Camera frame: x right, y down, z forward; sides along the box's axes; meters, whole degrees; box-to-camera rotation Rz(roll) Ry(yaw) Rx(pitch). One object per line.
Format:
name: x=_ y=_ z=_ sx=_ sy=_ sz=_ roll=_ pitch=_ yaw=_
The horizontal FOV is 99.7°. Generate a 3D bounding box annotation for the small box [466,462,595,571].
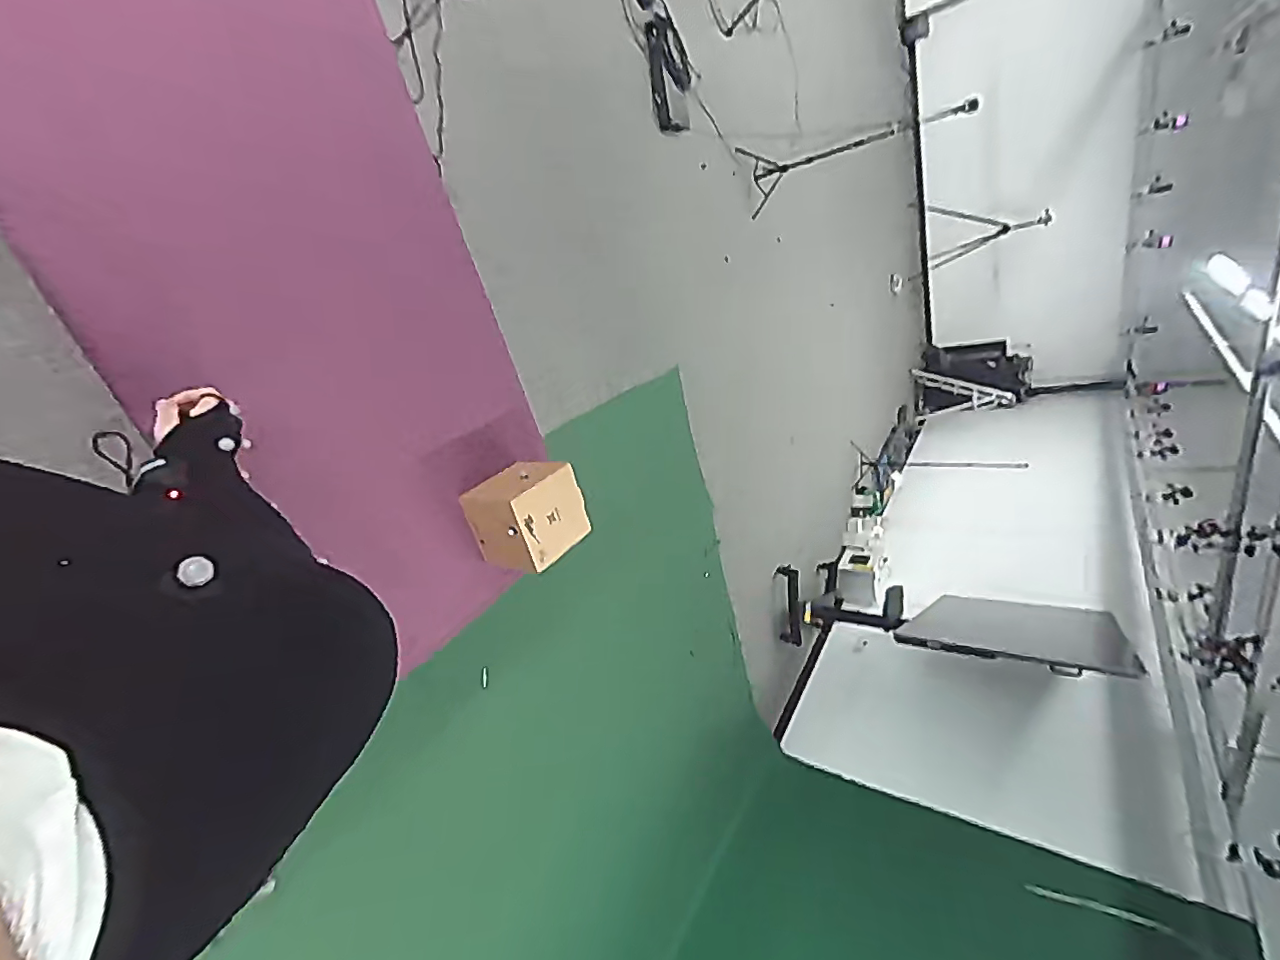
small box: x=-0.229 y=0.068 z=1.141 sx=0.179 sy=0.176 sz=0.168 roll=-39 pitch=120 yaw=-44
